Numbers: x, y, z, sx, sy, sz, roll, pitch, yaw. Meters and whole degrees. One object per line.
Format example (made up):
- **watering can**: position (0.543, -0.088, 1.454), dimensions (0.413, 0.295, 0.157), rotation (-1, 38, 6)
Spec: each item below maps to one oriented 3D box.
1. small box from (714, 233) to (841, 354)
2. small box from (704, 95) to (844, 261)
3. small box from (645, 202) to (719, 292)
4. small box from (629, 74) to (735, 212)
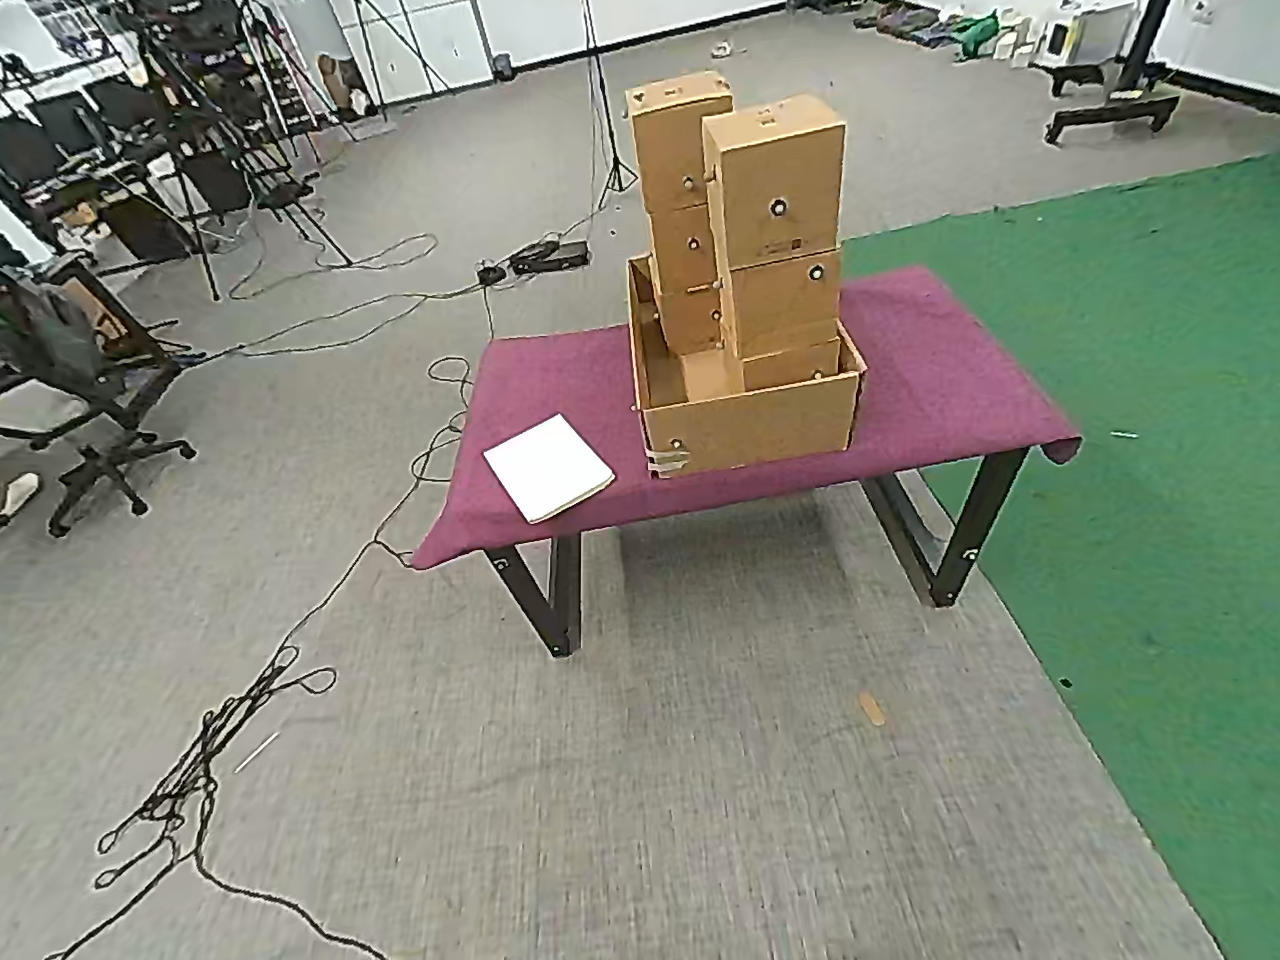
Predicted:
- **small box**: position (0.232, -0.336, 0.934), dimensions (0.179, 0.176, 0.168), rotation (-9, 45, 5)
- **small box**: position (0.196, -0.448, 0.817), dimensions (0.168, 0.176, 0.179), rotation (-9, 45, 5)
- **small box**: position (0.108, -0.523, 1.141), dimensions (0.179, 0.176, 0.168), rotation (-11, 47, 3)
- **small box**: position (0.079, -0.634, 1.023), dimensions (0.179, 0.176, 0.168), rotation (-9, 47, 3)
